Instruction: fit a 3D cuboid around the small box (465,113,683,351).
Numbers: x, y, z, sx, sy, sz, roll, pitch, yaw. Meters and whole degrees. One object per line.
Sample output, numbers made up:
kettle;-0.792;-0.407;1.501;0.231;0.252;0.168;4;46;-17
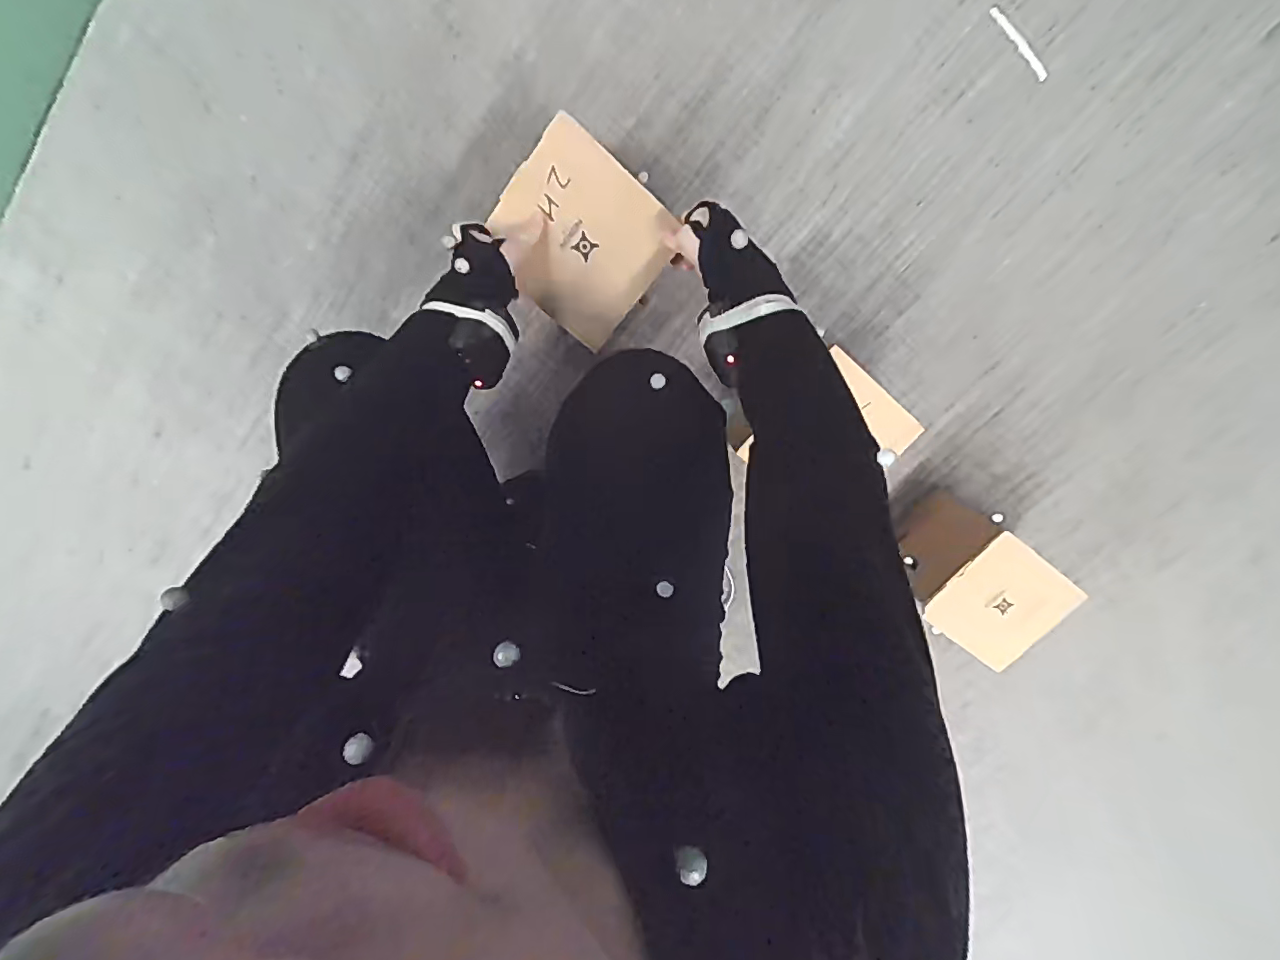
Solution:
small box;-0.069;-0.286;0.643;0.179;0.176;0.168;39;108;-16

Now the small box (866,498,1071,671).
small box;0.490;0.148;0.838;0.179;0.176;0.168;36;107;-12

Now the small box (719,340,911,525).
small box;0.227;-0.075;0.758;0.168;0.176;0.179;38;105;-13
